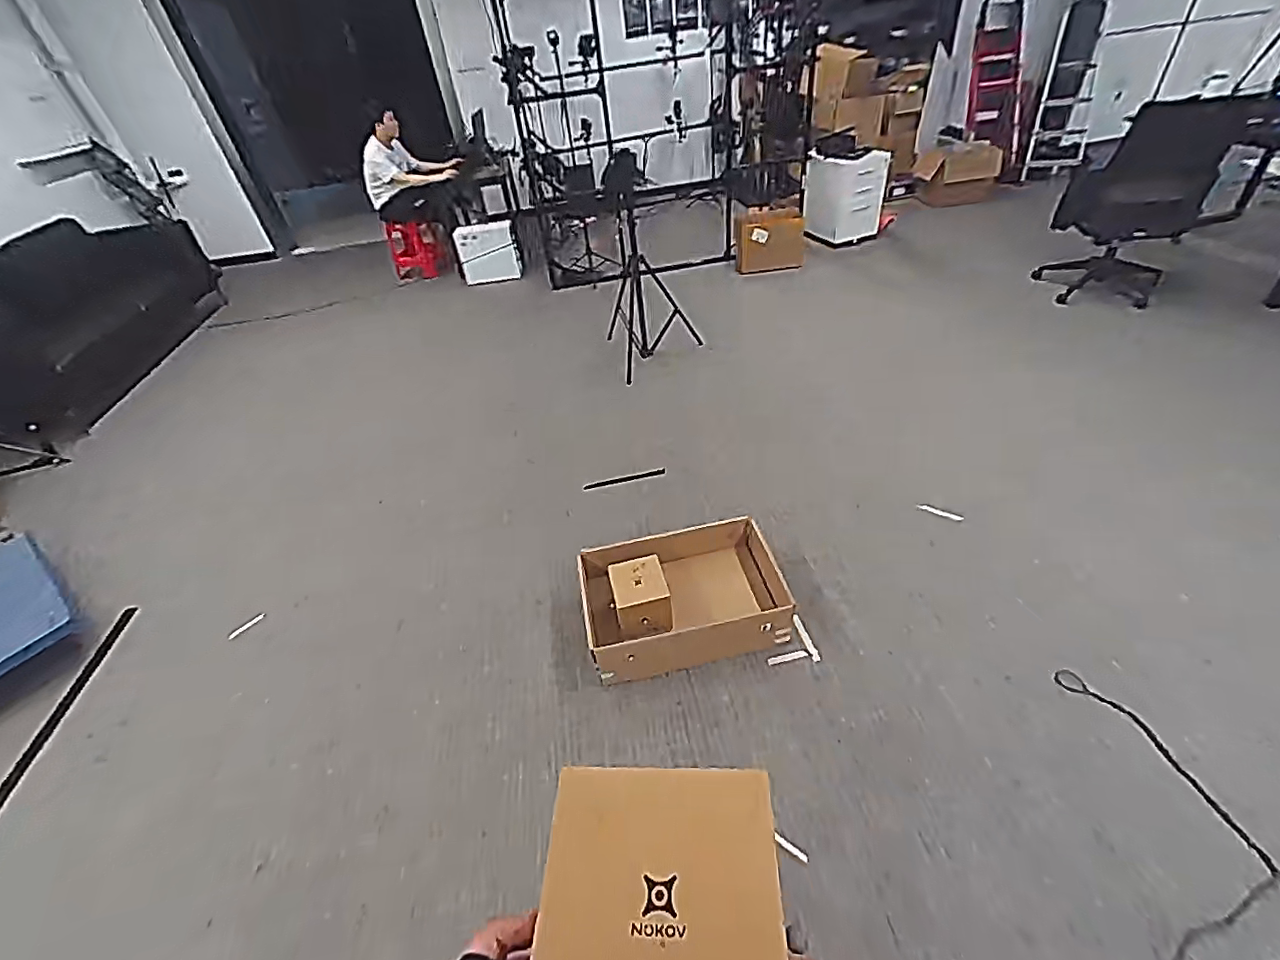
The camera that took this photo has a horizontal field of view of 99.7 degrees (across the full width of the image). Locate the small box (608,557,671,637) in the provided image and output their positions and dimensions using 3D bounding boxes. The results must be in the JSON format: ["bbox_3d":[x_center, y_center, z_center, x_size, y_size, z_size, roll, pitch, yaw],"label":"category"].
[{"bbox_3d":[0.000,0.379,1.724,0.168,0.176,0.179,-12,40,-6],"label":"small box"}]

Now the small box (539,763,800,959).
[{"bbox_3d":[0.025,0.341,0.410,0.168,0.176,0.179,-2,41,6],"label":"small box"}]
